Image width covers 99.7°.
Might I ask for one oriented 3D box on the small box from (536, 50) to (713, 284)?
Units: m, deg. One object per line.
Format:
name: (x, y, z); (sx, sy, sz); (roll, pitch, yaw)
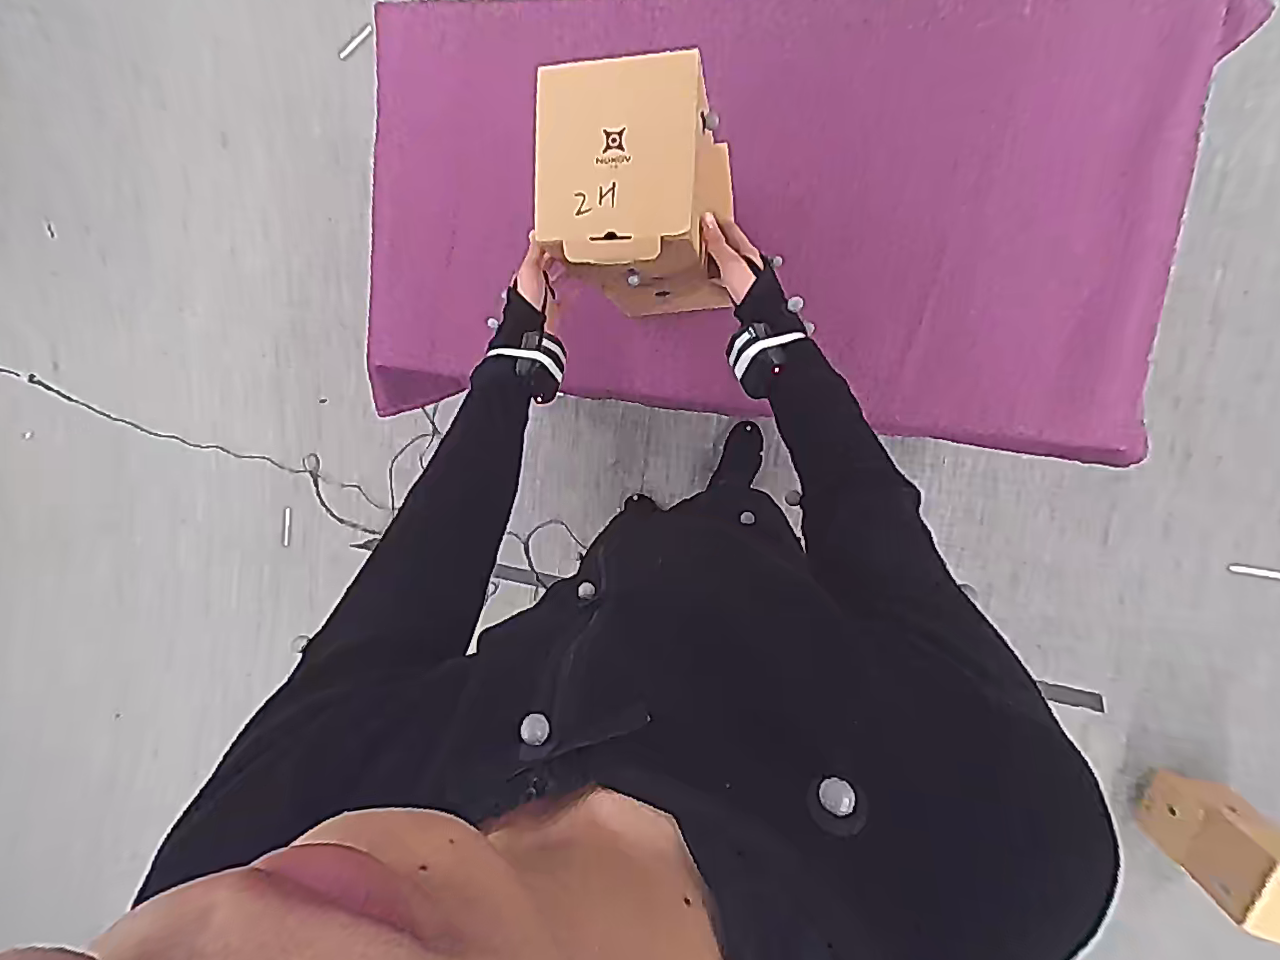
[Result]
small box: (-0.008, -0.336, 0.617); (0.168, 0.176, 0.179); (3, 96, 12)

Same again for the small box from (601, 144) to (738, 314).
small box: (0.047, -0.342, 0.774); (0.179, 0.176, 0.168); (-2, 95, 12)

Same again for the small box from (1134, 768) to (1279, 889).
small box: (1.405, 0.859, 1.354); (0.179, 0.176, 0.168); (13, 98, 10)
